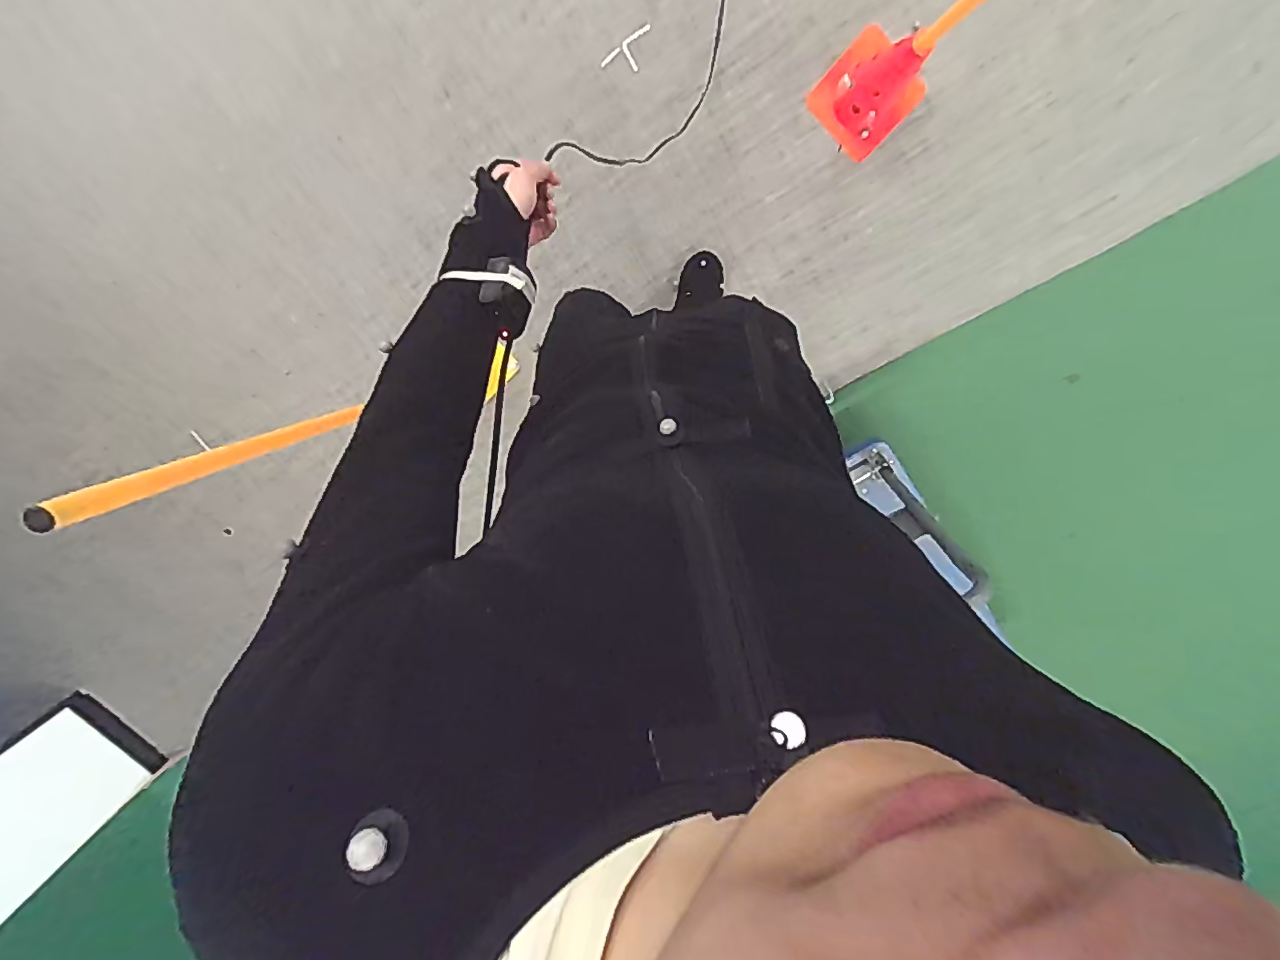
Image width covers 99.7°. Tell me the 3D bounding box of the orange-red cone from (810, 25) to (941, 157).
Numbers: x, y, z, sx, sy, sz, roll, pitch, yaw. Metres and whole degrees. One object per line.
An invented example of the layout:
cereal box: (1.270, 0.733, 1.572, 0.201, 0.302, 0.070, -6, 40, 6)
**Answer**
orange-red cone: (0.505, -0.816, 1.076, 0.198, 0.360, 0.199, 42, 109, -13)
